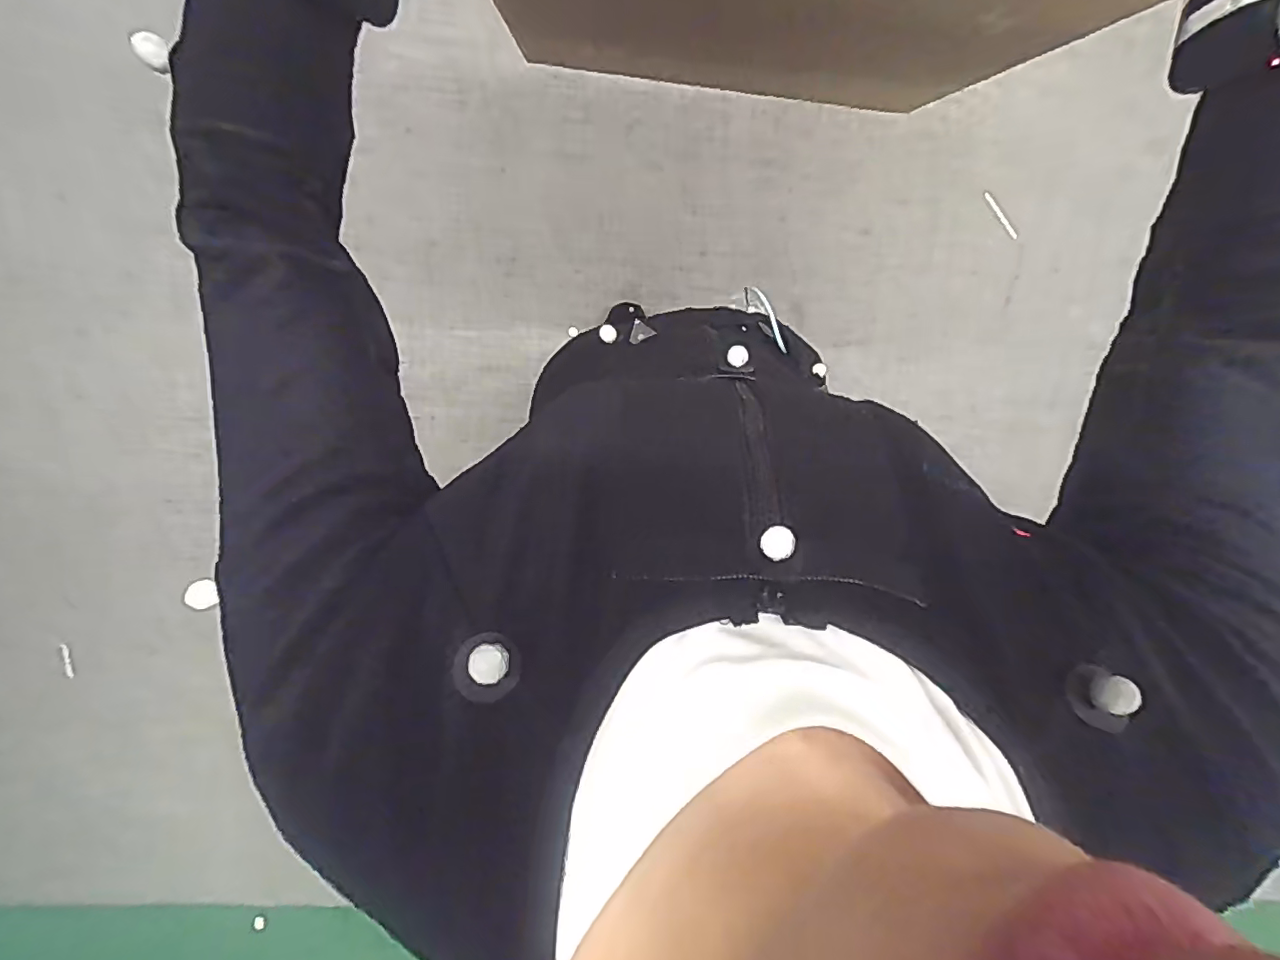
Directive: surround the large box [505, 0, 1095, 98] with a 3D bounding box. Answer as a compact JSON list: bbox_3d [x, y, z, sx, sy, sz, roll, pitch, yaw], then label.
[{"bbox_3d":[0.102,-0.489,0.359,0.408,0.320,0.320,3,114,-5],"label":"large box"}]
